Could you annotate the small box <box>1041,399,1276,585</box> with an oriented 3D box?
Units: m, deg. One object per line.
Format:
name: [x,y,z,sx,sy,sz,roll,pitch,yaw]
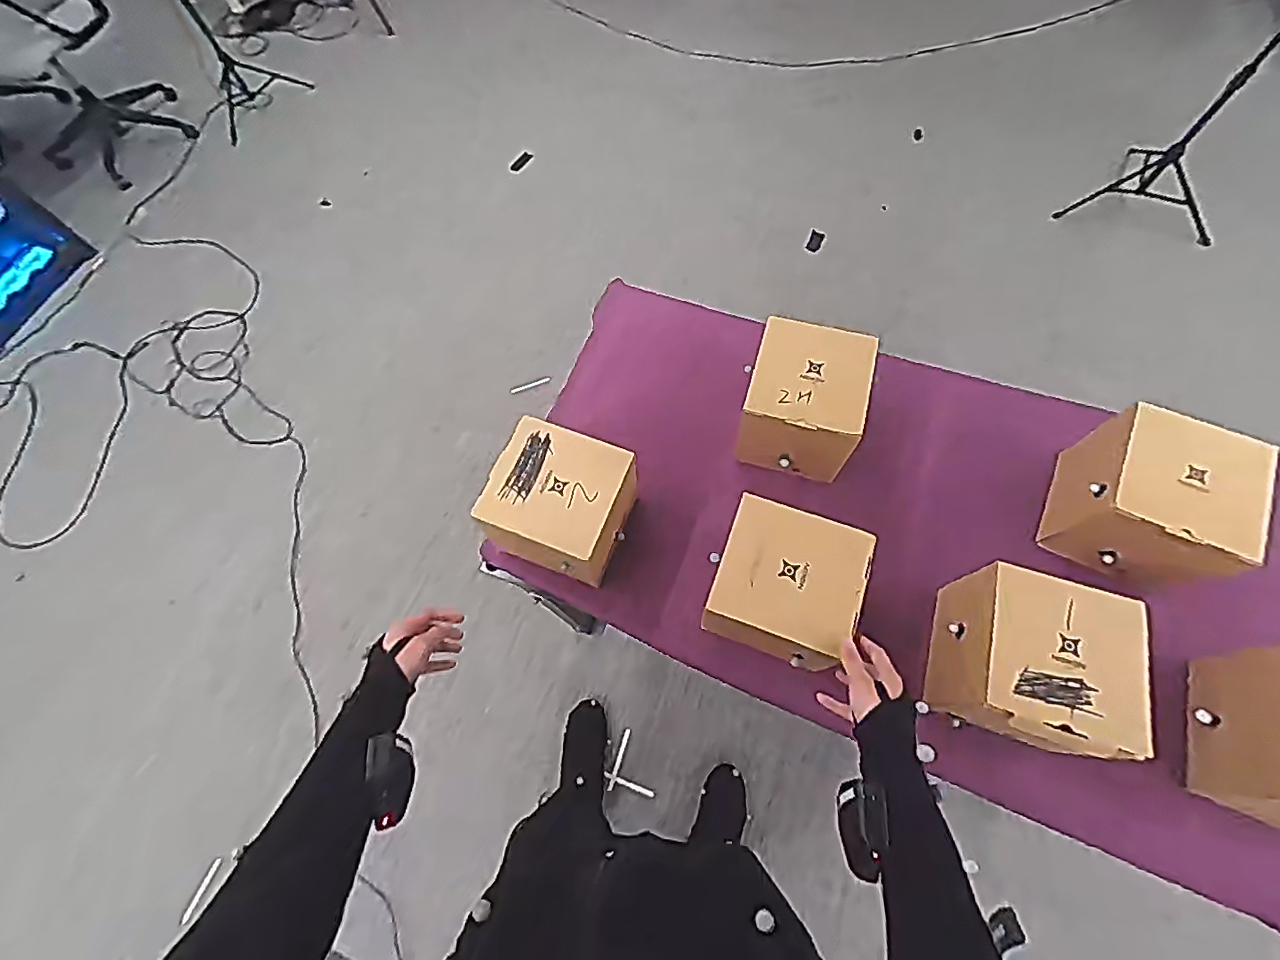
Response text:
small box: [0.709,0.023,0.758,0.168,0.176,0.179,24,72,14]

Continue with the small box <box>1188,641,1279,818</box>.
small box: [0.793,0.306,0.624,0.168,0.176,0.179,20,68,13]

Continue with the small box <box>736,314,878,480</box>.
small box: [0.255,-0.125,0.855,0.168,0.176,0.179,15,69,11]

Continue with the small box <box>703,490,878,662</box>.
small box: [0.196,0.139,0.742,0.179,0.176,0.168,18,69,12]

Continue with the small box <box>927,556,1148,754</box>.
small box: [0.487,0.222,0.684,0.168,0.176,0.179,17,68,11]
